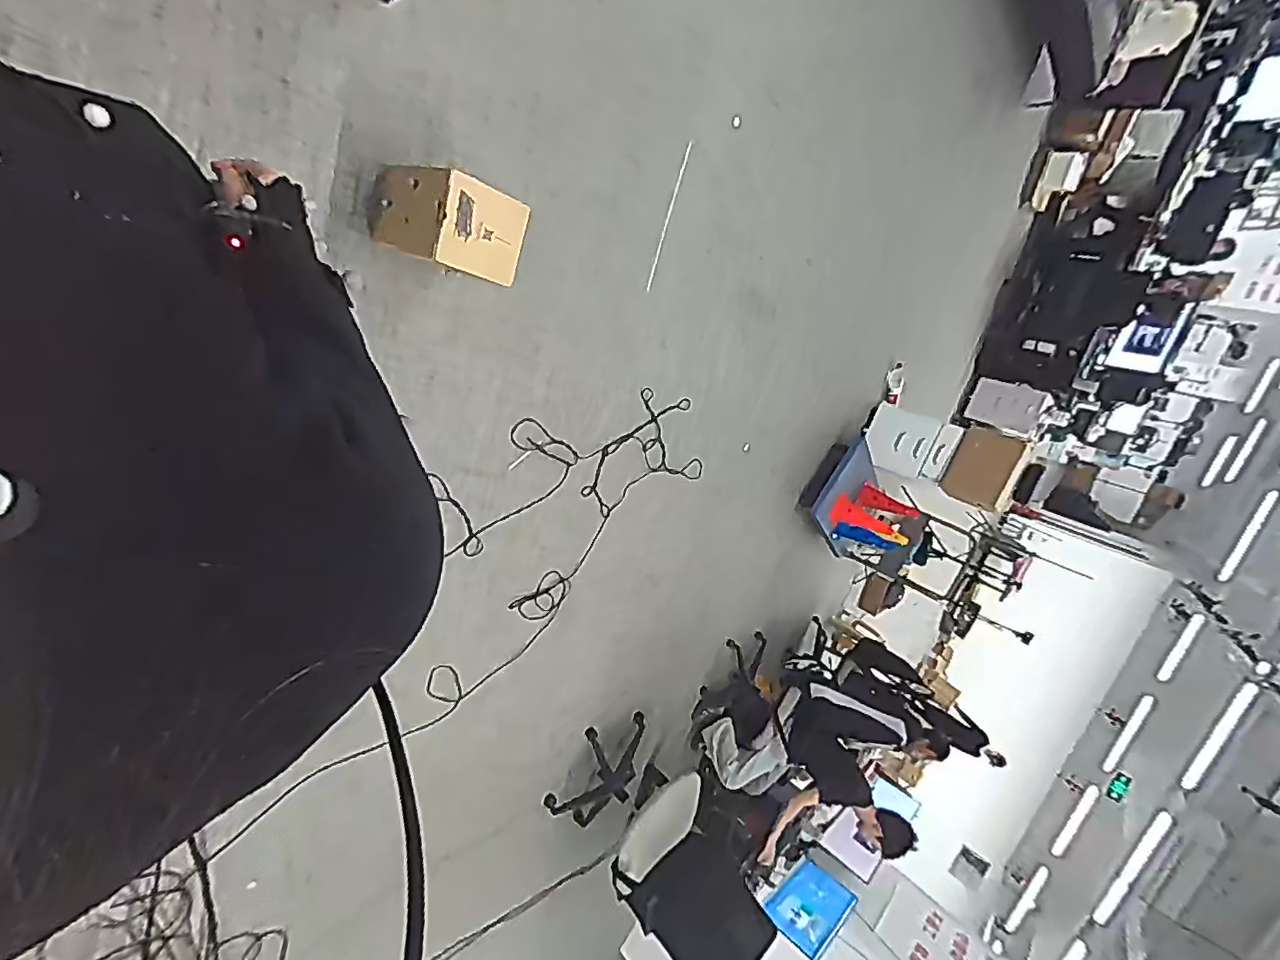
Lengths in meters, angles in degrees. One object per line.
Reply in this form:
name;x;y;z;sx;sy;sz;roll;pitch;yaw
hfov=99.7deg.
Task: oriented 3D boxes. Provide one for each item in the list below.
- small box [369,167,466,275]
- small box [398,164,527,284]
small box;-0.470;-0.578;1.206;0.179;0.176;0.168;5;107;-51
small box;-0.365;-0.515;1.097;0.179;0.176;0.168;2;110;-50
